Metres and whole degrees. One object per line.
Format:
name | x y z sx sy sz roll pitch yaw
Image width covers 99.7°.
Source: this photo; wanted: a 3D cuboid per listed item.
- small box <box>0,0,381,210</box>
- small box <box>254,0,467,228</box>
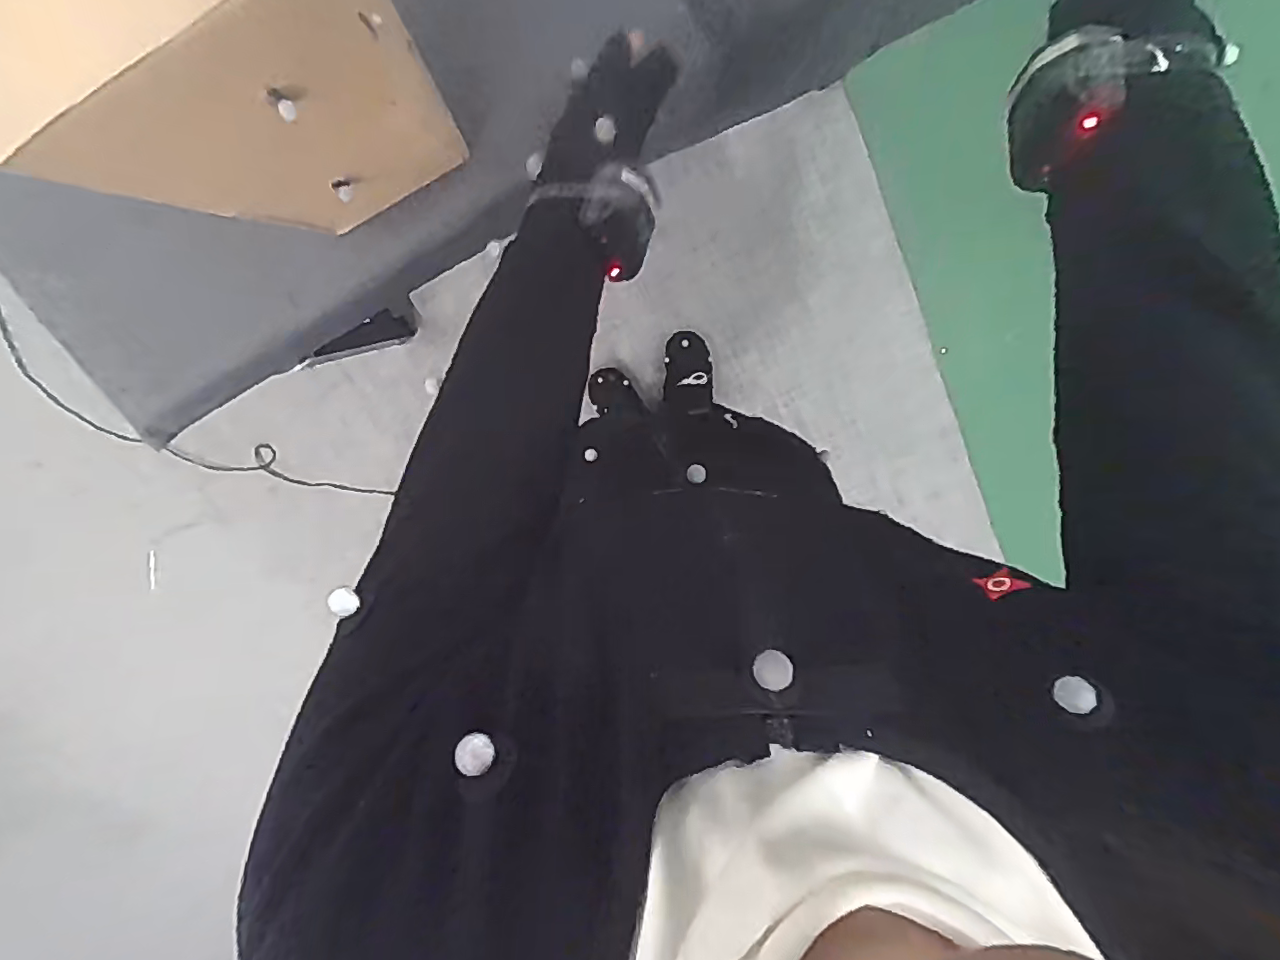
small box | -0.298 -0.301 0.341 0.179 0.176 0.168 -25 104 11
small box | -0.293 -0.354 0.494 0.179 0.176 0.168 -24 105 10
